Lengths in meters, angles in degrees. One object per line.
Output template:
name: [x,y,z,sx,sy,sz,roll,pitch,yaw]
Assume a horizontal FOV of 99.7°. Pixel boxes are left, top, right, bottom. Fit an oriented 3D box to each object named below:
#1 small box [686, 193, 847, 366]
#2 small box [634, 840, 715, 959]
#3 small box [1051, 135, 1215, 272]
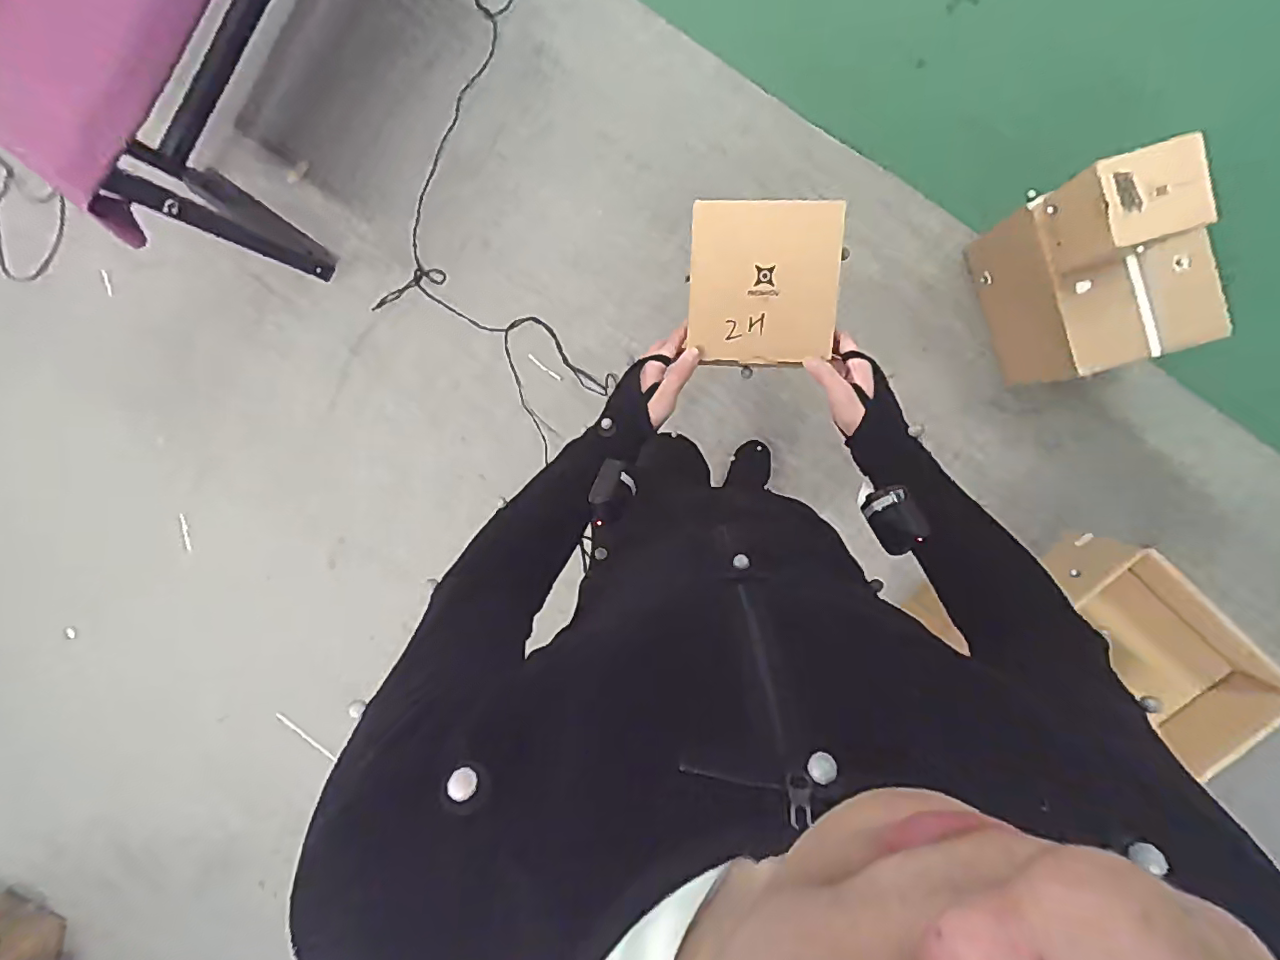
small box: [0.144,-0.237,0.677,0.168,0.176,0.179,3,101,5]
small box: [0.089,1.014,1.304,0.168,0.176,0.179,-9,92,8]
small box: [0.958,-0.534,1.073,0.179,0.176,0.168,-14,93,8]
